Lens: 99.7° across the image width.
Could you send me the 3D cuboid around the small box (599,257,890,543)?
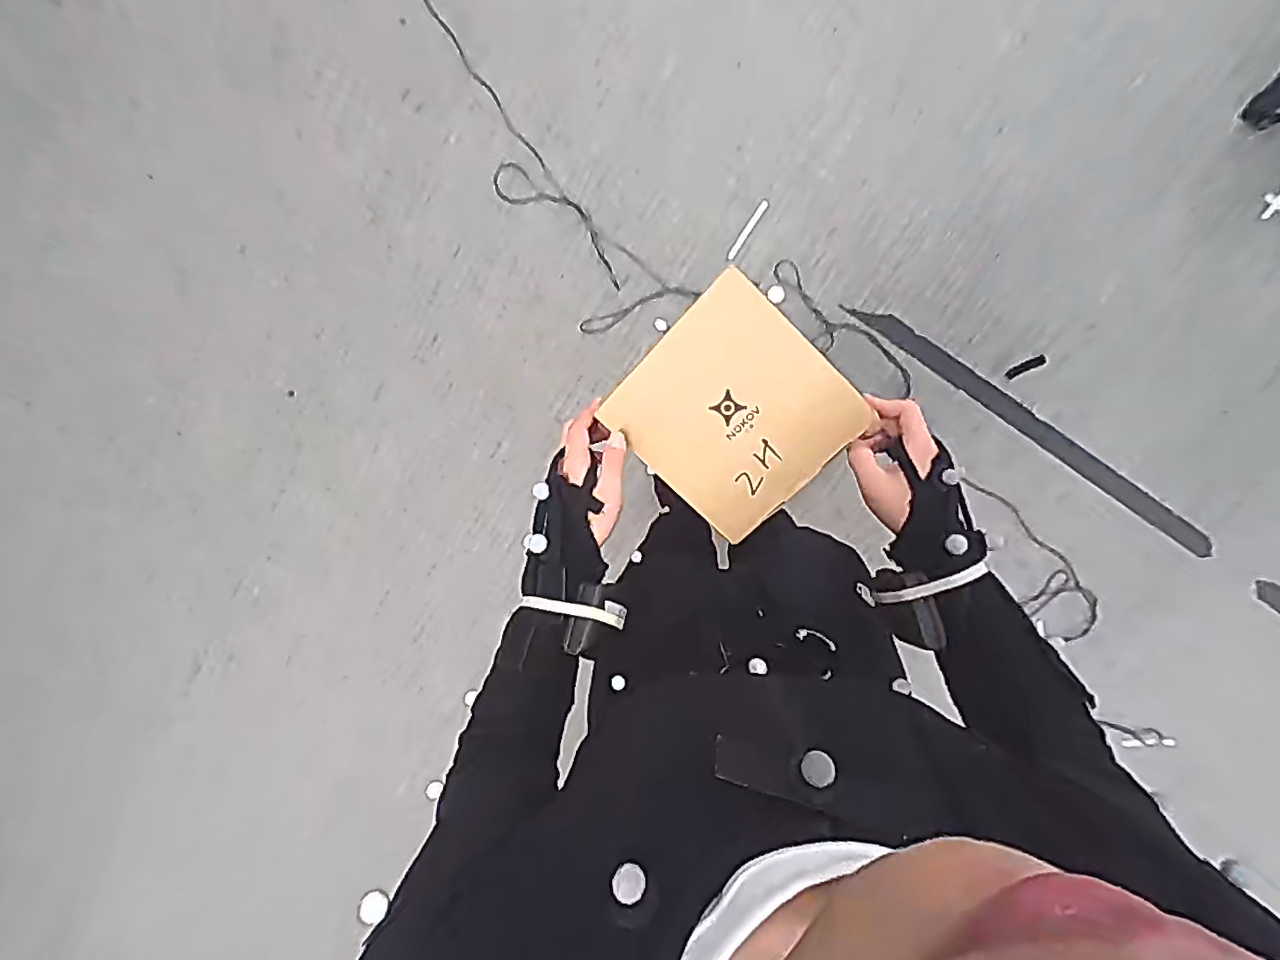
[{"bbox_3d":[0.089,-0.078,0.511,0.179,0.176,0.168,43,108,-8],"label":"small box"}]
